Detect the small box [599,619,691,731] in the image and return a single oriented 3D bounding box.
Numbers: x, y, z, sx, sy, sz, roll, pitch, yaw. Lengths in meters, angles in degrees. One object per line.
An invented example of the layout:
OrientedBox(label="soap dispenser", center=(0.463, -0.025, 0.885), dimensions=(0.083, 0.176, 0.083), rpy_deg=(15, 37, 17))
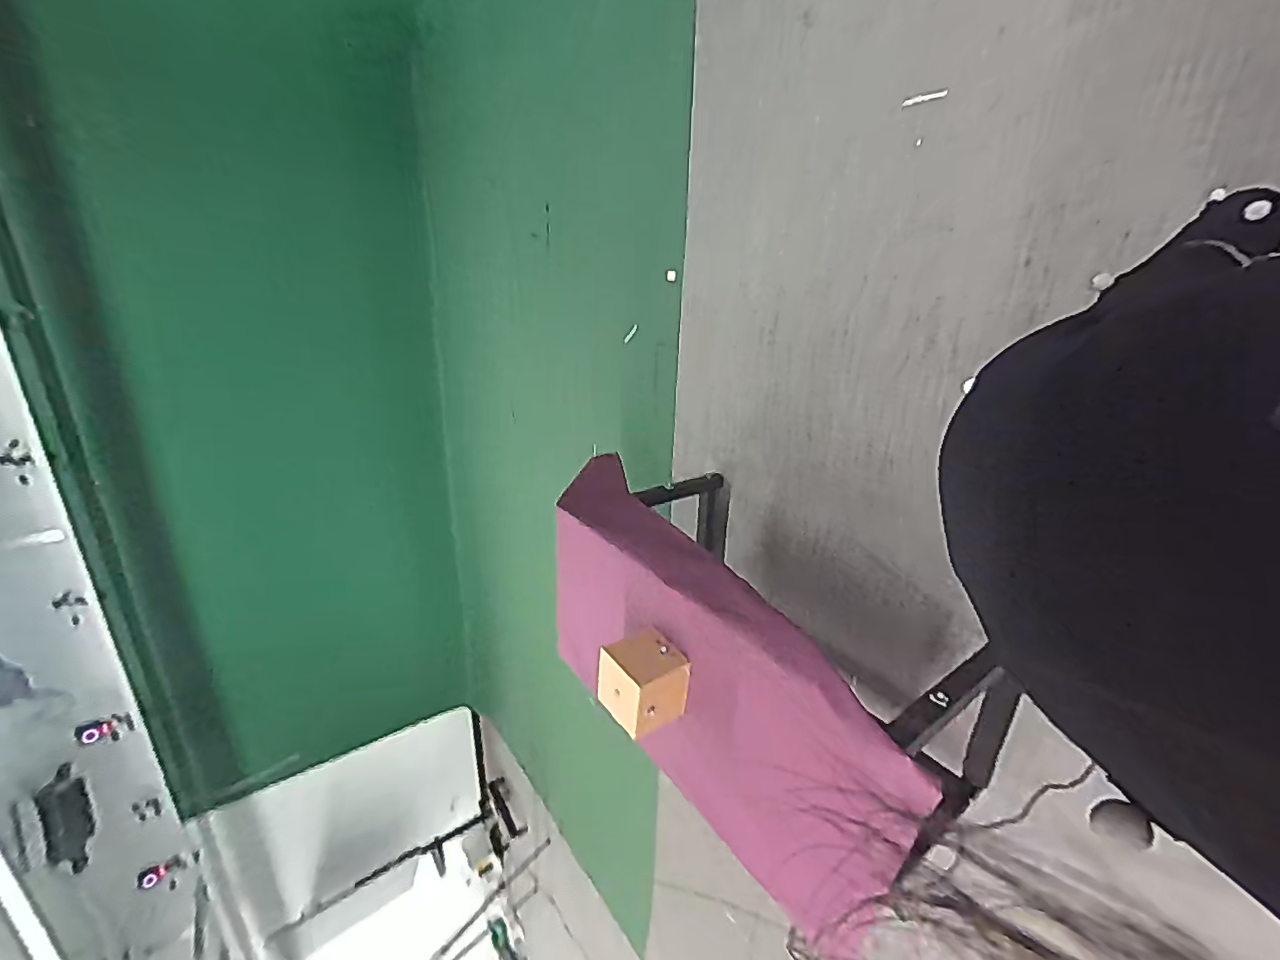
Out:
OrientedBox(label="small box", center=(0.012, 0.492, 1.386), dimensions=(0.168, 0.176, 0.179), rpy_deg=(32, 125, 44))
